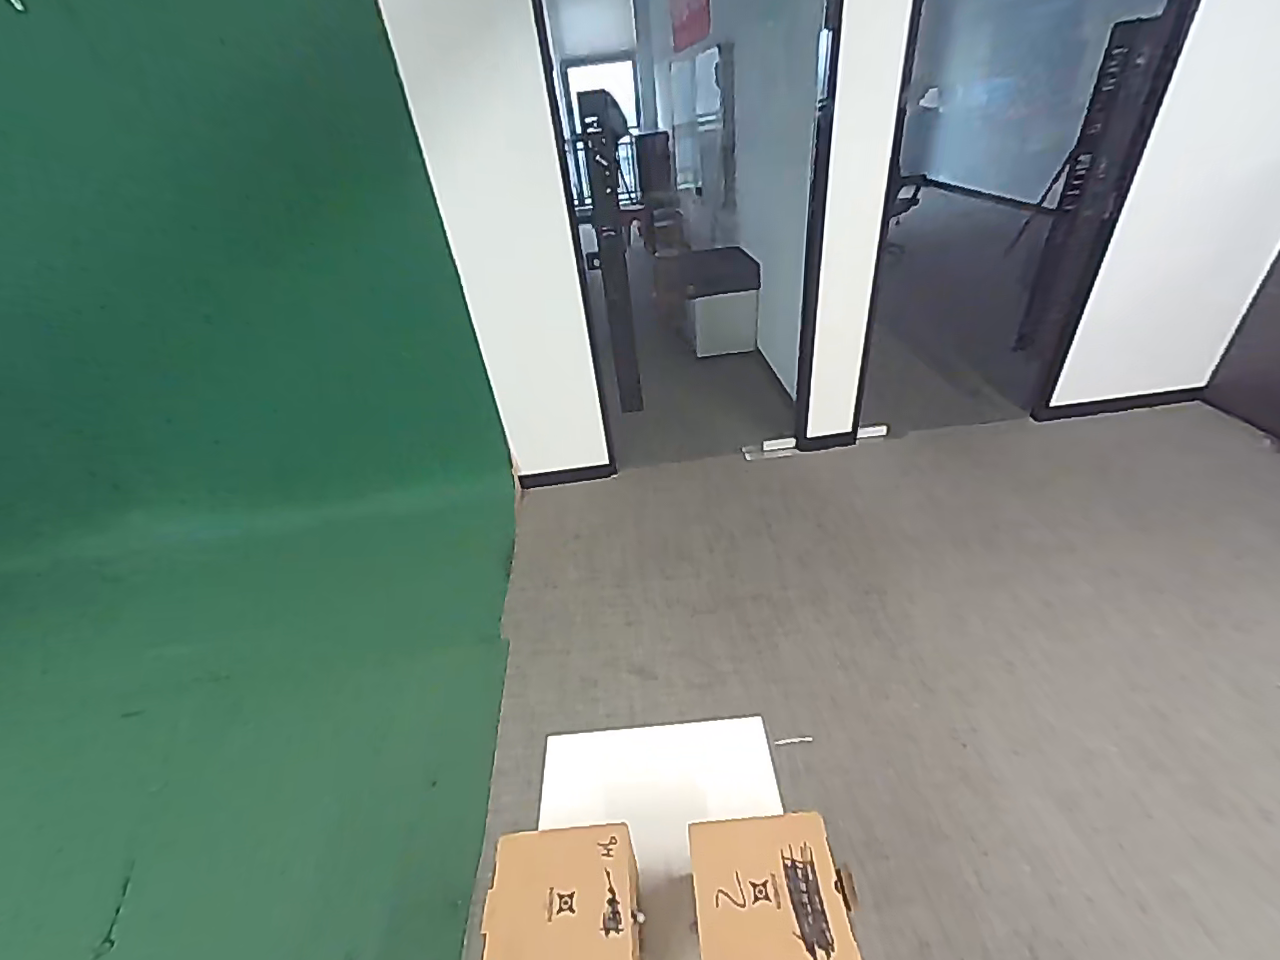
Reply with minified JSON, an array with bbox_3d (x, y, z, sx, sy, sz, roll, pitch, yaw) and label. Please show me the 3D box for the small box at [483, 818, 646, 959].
[{"bbox_3d":[-0.088,0.573,0.706,0.179,0.176,0.168,-6,36,0],"label":"small box"}]
